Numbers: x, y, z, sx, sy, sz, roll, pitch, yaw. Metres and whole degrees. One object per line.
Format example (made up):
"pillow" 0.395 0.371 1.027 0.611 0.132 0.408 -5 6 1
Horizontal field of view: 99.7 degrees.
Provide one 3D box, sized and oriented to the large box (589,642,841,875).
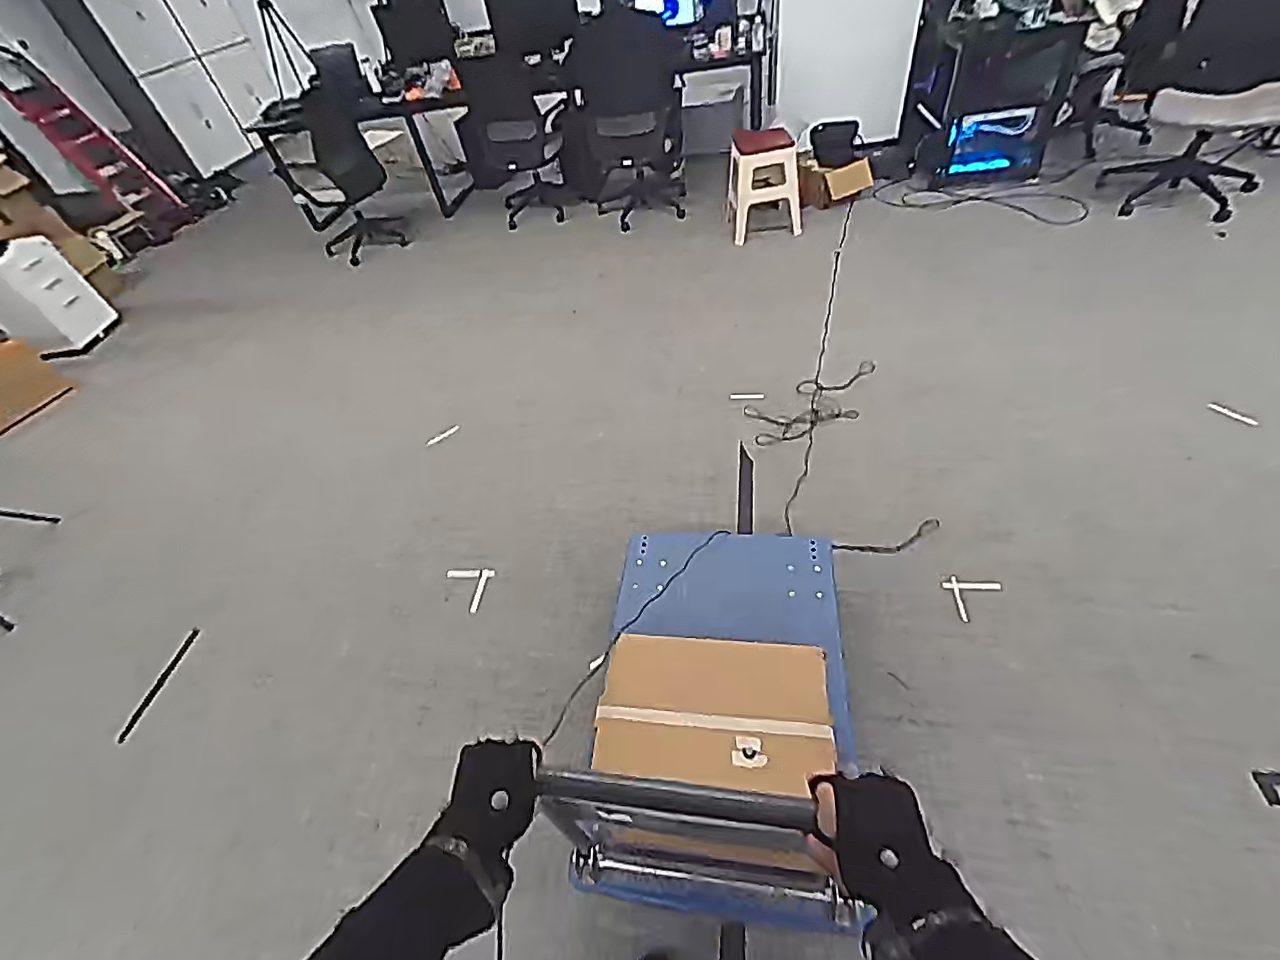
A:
"large box" 0.146 0.538 1.053 0.408 0.320 0.320 1 48 11
